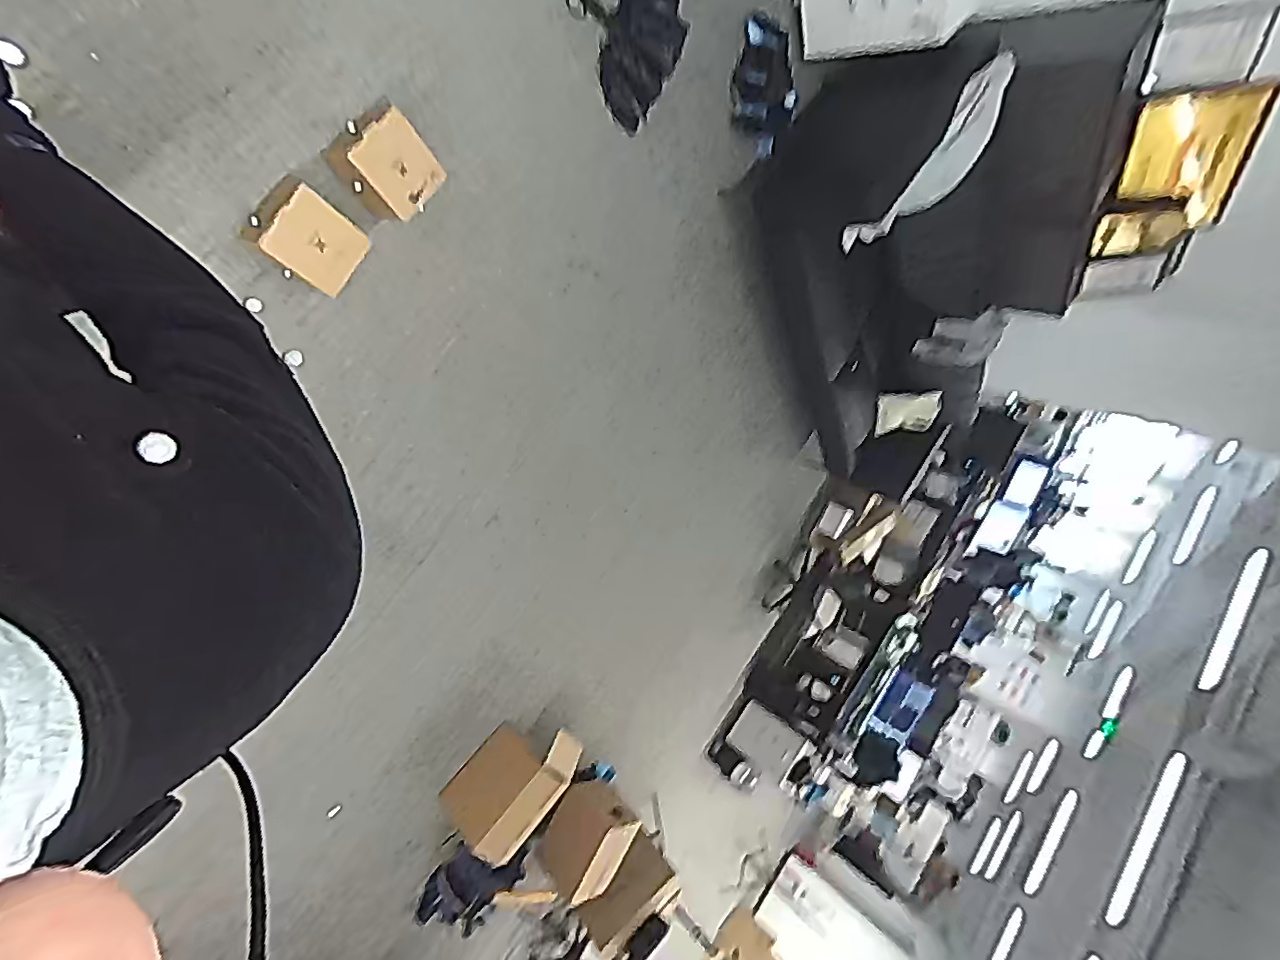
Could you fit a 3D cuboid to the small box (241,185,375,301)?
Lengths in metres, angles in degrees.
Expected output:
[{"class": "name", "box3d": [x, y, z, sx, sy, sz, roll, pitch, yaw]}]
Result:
[{"class": "small box", "box3d": [-0.752, -0.535, 1.221, 0.168, 0.176, 0.179, -59, 144, -5]}]

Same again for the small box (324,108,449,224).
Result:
[{"class": "small box", "box3d": [-0.602, -0.735, 1.280, 0.168, 0.176, 0.179, -55, 141, -12]}]
